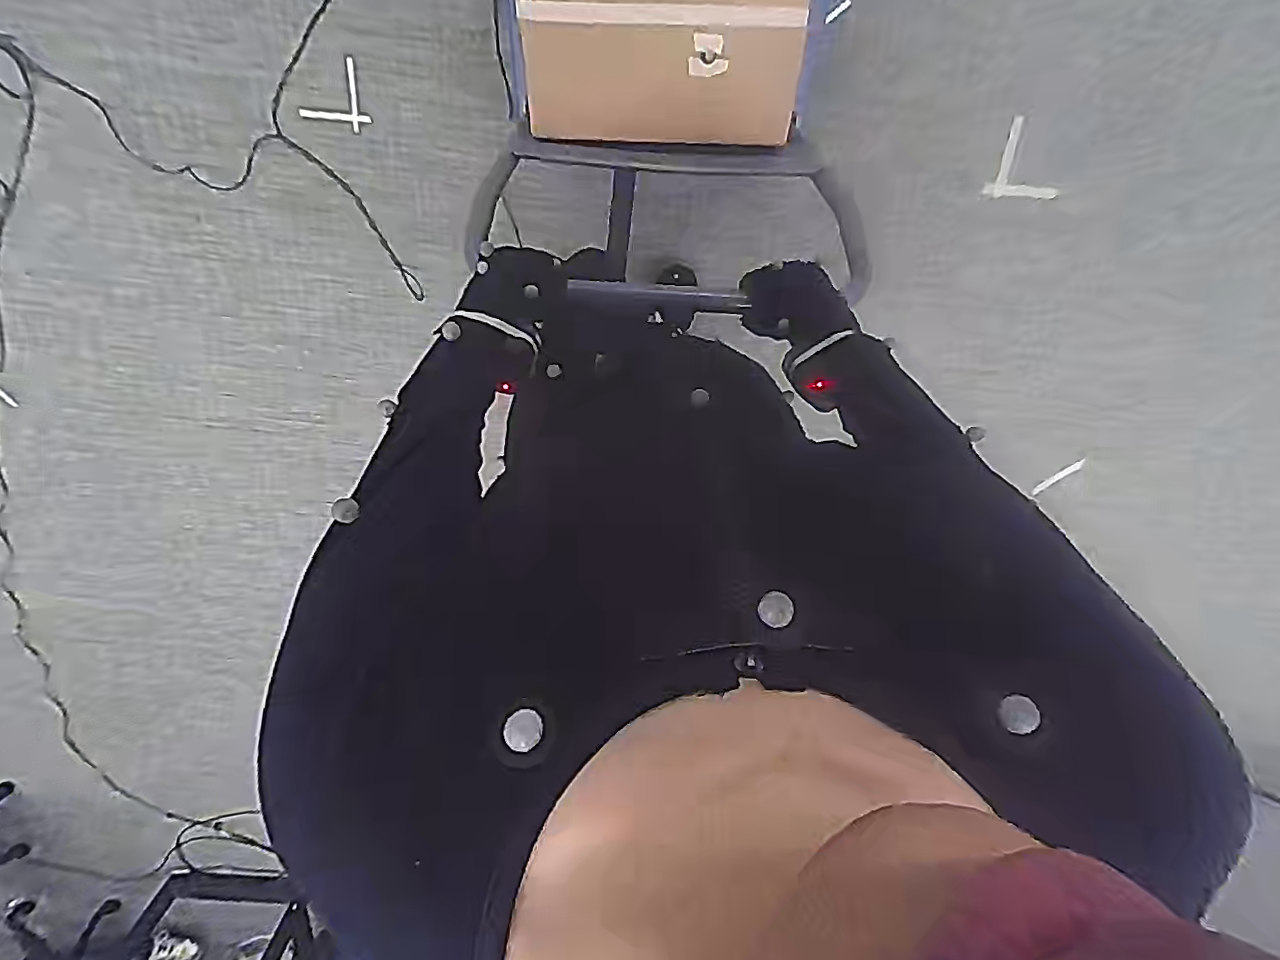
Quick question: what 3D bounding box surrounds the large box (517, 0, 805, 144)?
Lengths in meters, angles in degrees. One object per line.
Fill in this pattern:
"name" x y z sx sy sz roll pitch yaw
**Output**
"large box" 0.026 -0.744 0.858 0.408 0.320 0.320 1 133 -1
